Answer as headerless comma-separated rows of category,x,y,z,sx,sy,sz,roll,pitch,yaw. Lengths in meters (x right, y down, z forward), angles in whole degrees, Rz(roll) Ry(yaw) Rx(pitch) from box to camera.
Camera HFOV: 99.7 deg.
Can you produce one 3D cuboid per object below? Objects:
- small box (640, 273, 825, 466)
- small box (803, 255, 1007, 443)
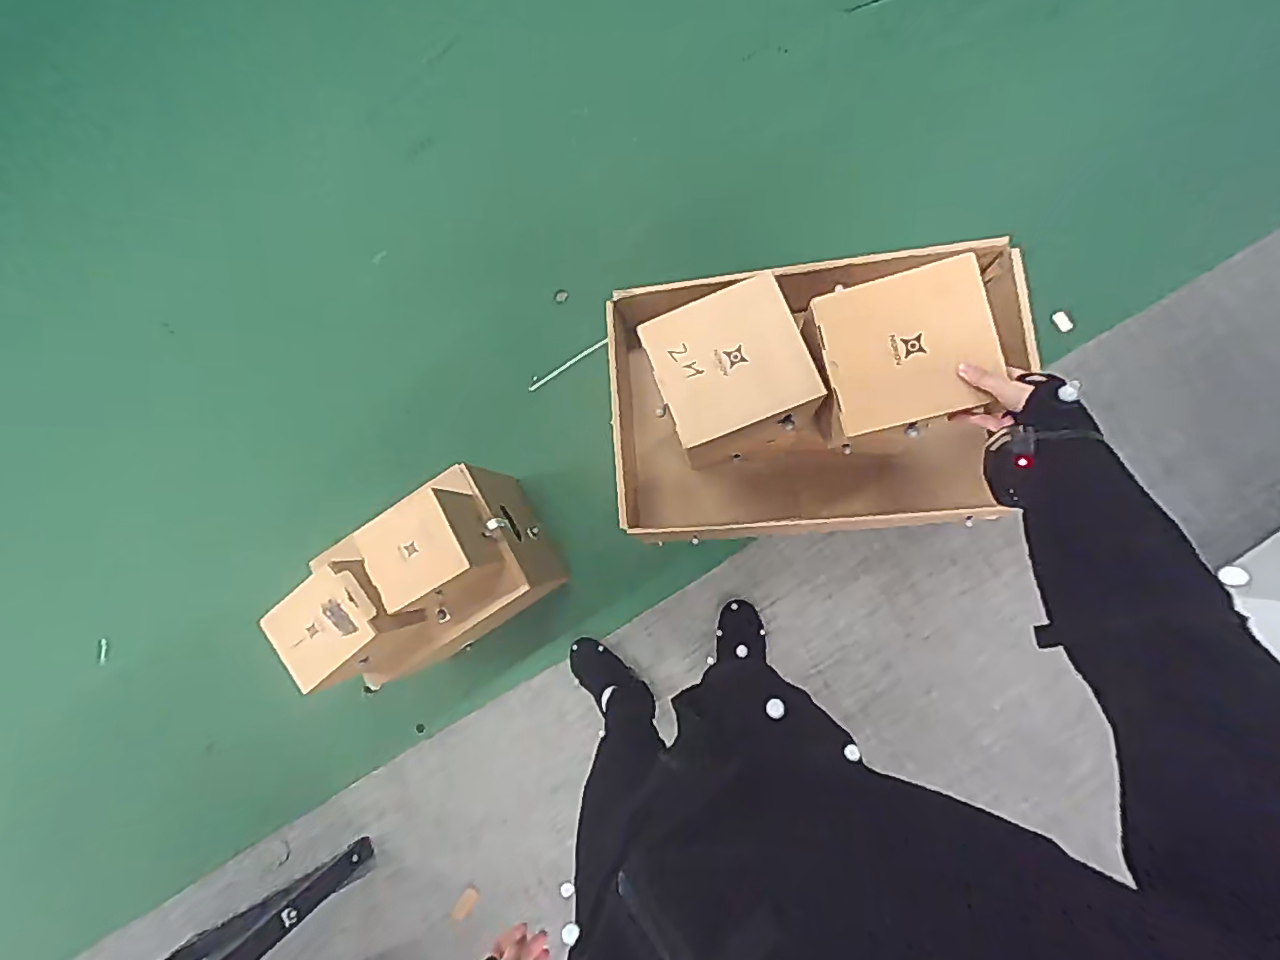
small box,0.115,-0.132,0.710,0.179,0.176,0.168,-21,79,5
small box,0.310,-0.148,0.676,0.179,0.176,0.168,-14,87,12
